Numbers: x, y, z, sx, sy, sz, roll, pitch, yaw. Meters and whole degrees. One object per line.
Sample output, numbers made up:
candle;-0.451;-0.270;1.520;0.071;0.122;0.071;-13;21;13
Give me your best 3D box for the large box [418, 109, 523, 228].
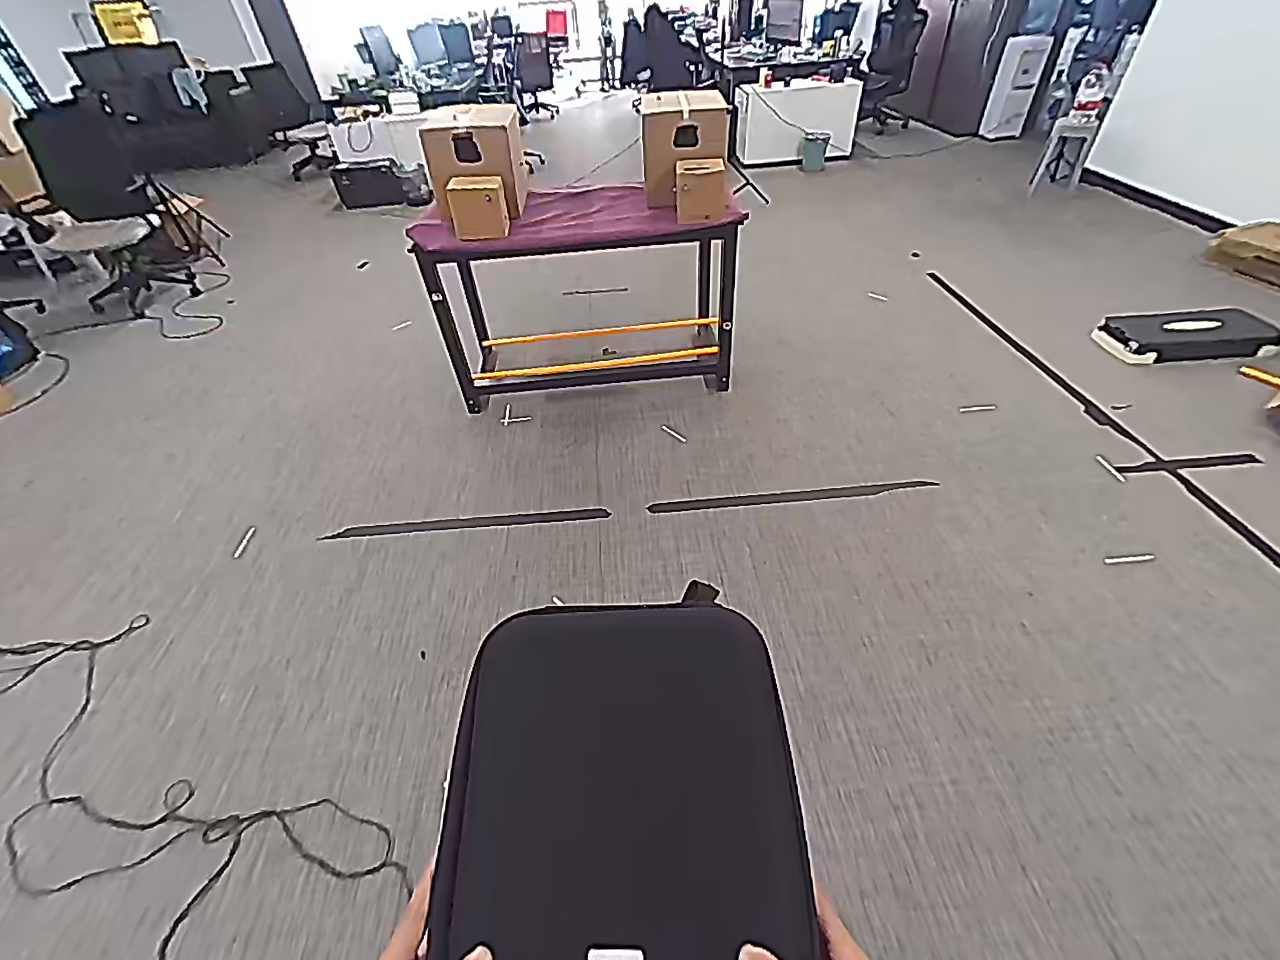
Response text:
large box;-0.645;-1.237;2.136;0.320;0.320;0.408;-5;45;-2
